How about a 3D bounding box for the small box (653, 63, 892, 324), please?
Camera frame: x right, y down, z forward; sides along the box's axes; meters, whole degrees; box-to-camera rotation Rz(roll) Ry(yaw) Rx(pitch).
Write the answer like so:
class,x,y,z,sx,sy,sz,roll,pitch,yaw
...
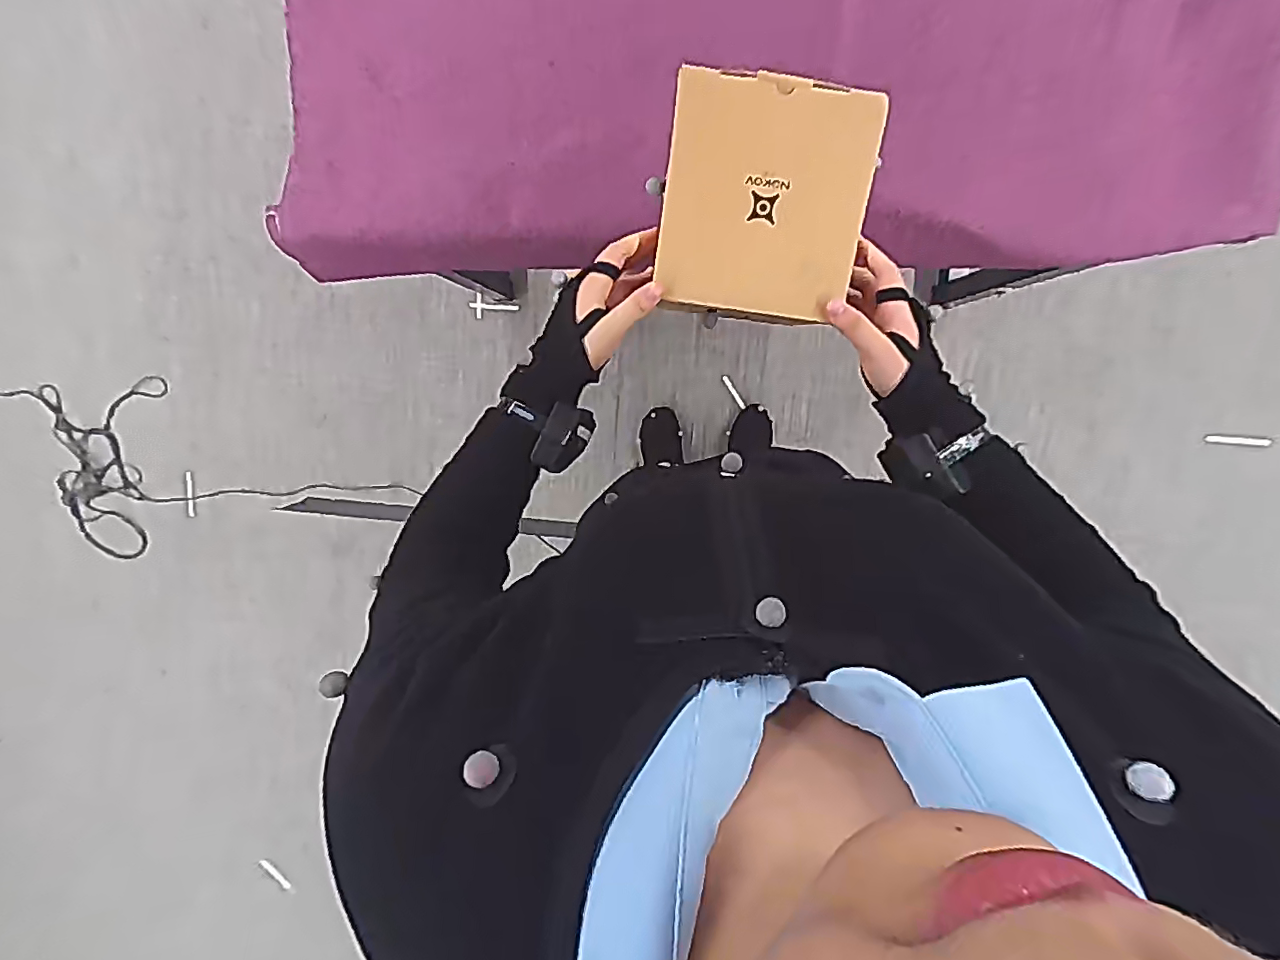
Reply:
class,x,y,z,sx,sy,sz,roll,pitch,yaw
small box,0.107,-0.250,0.518,0.168,0.176,0.179,8,104,0
